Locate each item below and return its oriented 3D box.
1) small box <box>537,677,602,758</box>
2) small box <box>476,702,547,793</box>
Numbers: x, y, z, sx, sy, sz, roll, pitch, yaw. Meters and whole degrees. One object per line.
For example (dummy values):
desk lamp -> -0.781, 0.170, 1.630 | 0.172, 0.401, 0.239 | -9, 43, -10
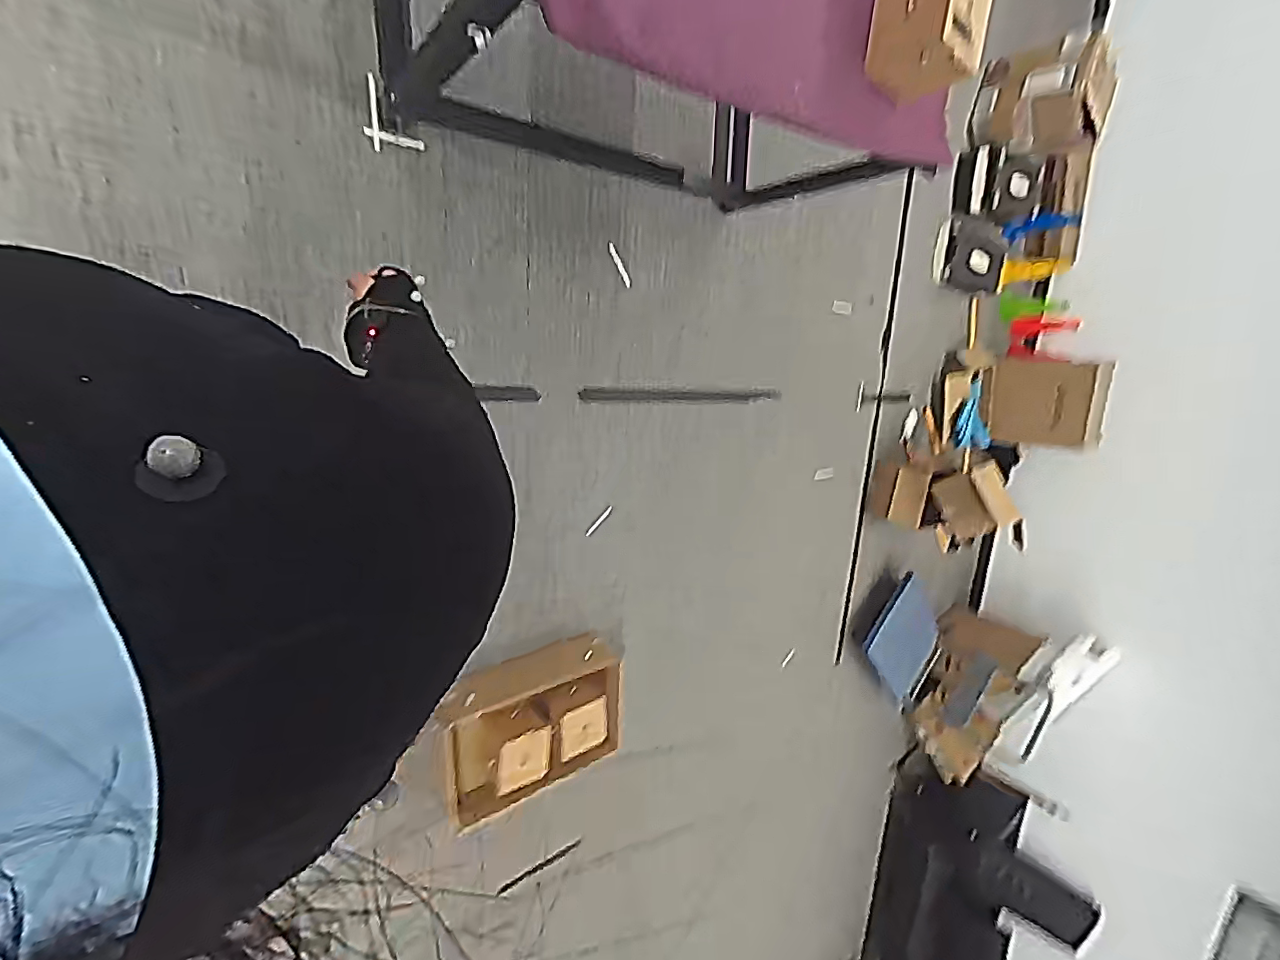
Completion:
small box -> -0.245, 0.806, 1.863 | 0.168, 0.176, 0.179 | -10, 109, -35
small box -> -0.418, 0.852, 1.738 | 0.168, 0.176, 0.179 | -3, 104, -39
